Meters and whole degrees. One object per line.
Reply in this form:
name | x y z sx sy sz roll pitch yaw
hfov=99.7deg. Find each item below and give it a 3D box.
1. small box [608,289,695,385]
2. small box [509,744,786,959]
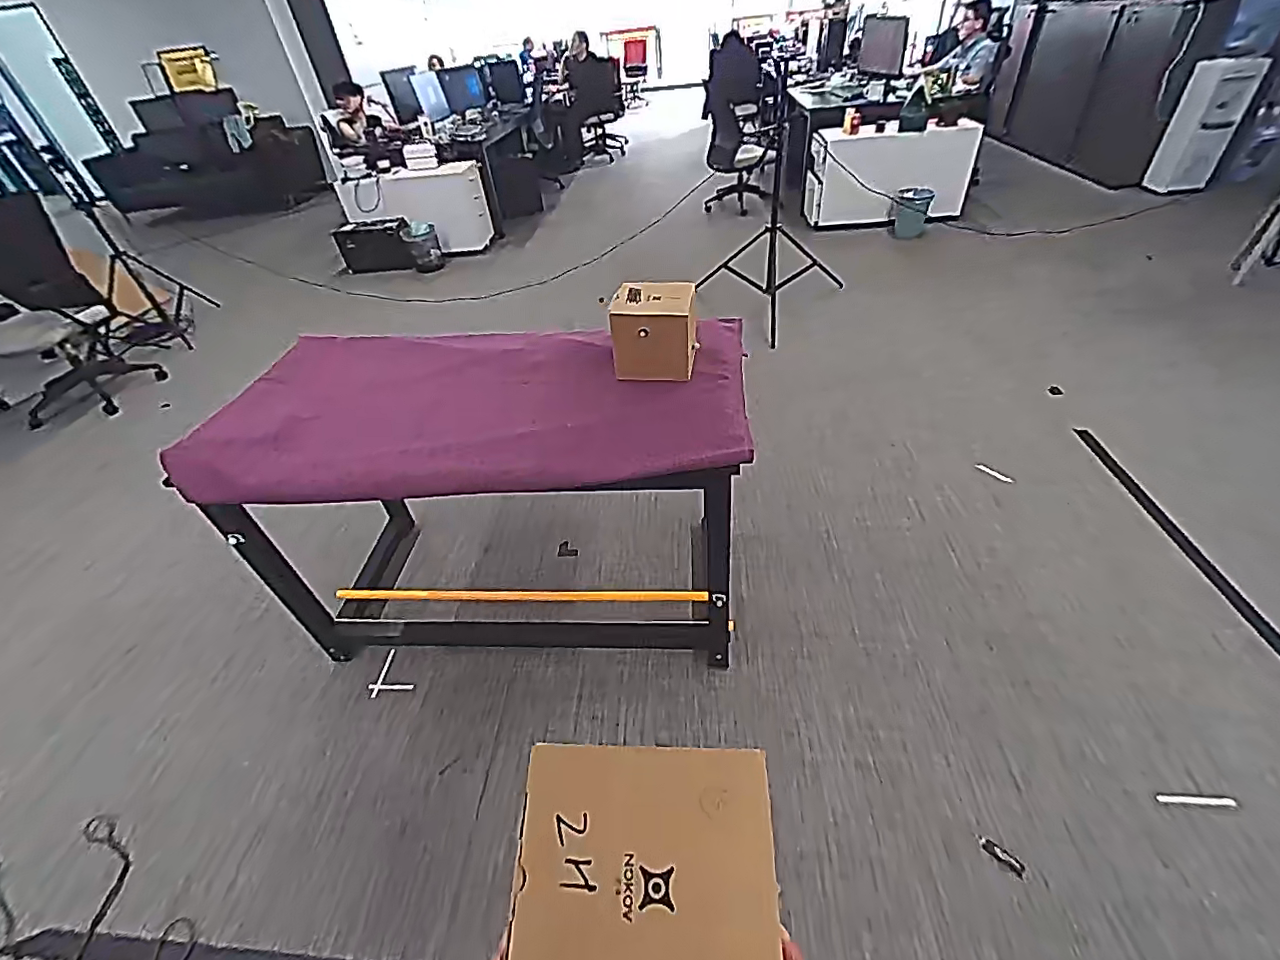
small box | 0.035 -0.337 1.279 0.179 0.176 0.168 4 43 10
small box | 0.009 0.311 0.426 0.179 0.176 0.168 0 57 4
